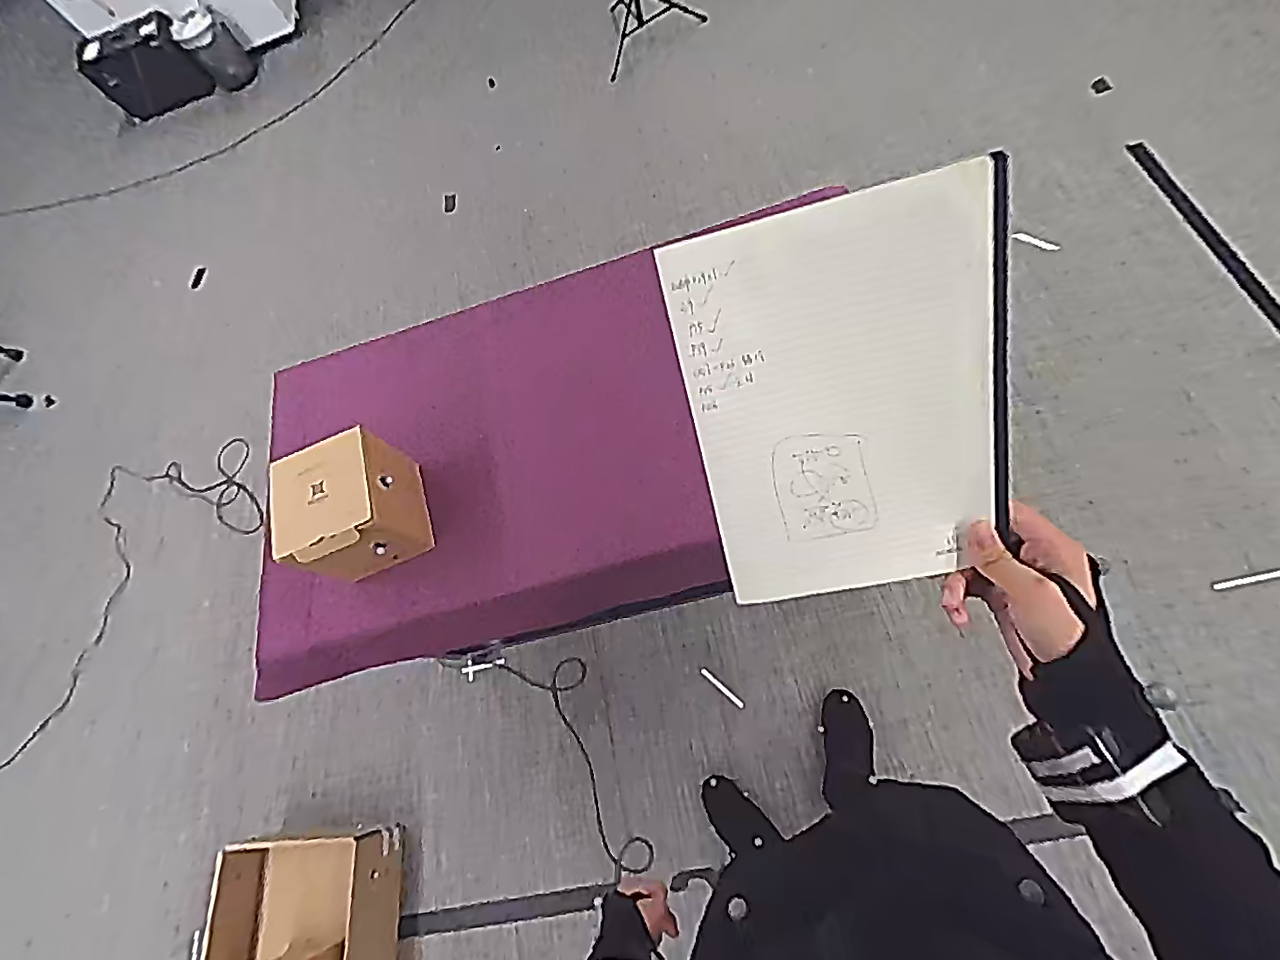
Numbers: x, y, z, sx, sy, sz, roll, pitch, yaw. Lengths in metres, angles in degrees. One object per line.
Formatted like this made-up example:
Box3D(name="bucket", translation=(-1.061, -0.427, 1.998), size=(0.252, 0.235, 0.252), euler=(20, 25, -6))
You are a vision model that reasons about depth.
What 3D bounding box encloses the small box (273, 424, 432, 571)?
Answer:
Box3D(name="small box", translation=(-0.472, 0.041, 0.905), size=(0.168, 0.176, 0.179), euler=(-22, 66, 4))
